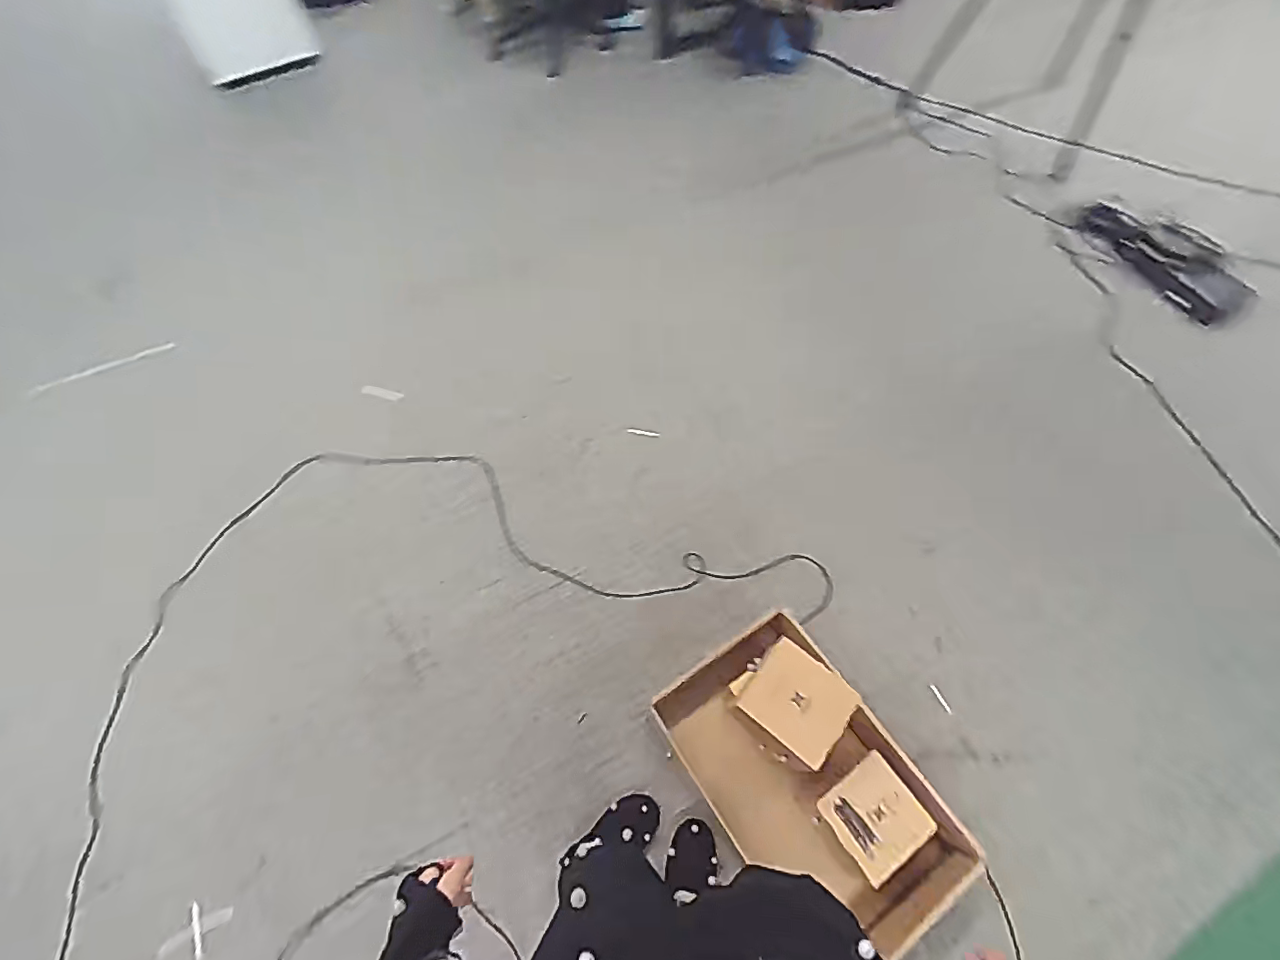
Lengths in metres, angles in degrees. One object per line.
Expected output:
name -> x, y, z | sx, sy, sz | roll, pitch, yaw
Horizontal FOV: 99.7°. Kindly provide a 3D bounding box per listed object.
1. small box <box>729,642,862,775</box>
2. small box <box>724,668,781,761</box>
small box -> 0.301, 0.454, 1.078 | 0.179, 0.176, 0.168 | 37, 69, 18
small box -> 0.311, 0.514, 1.230 | 0.168, 0.176, 0.179 | -30, 68, -14
